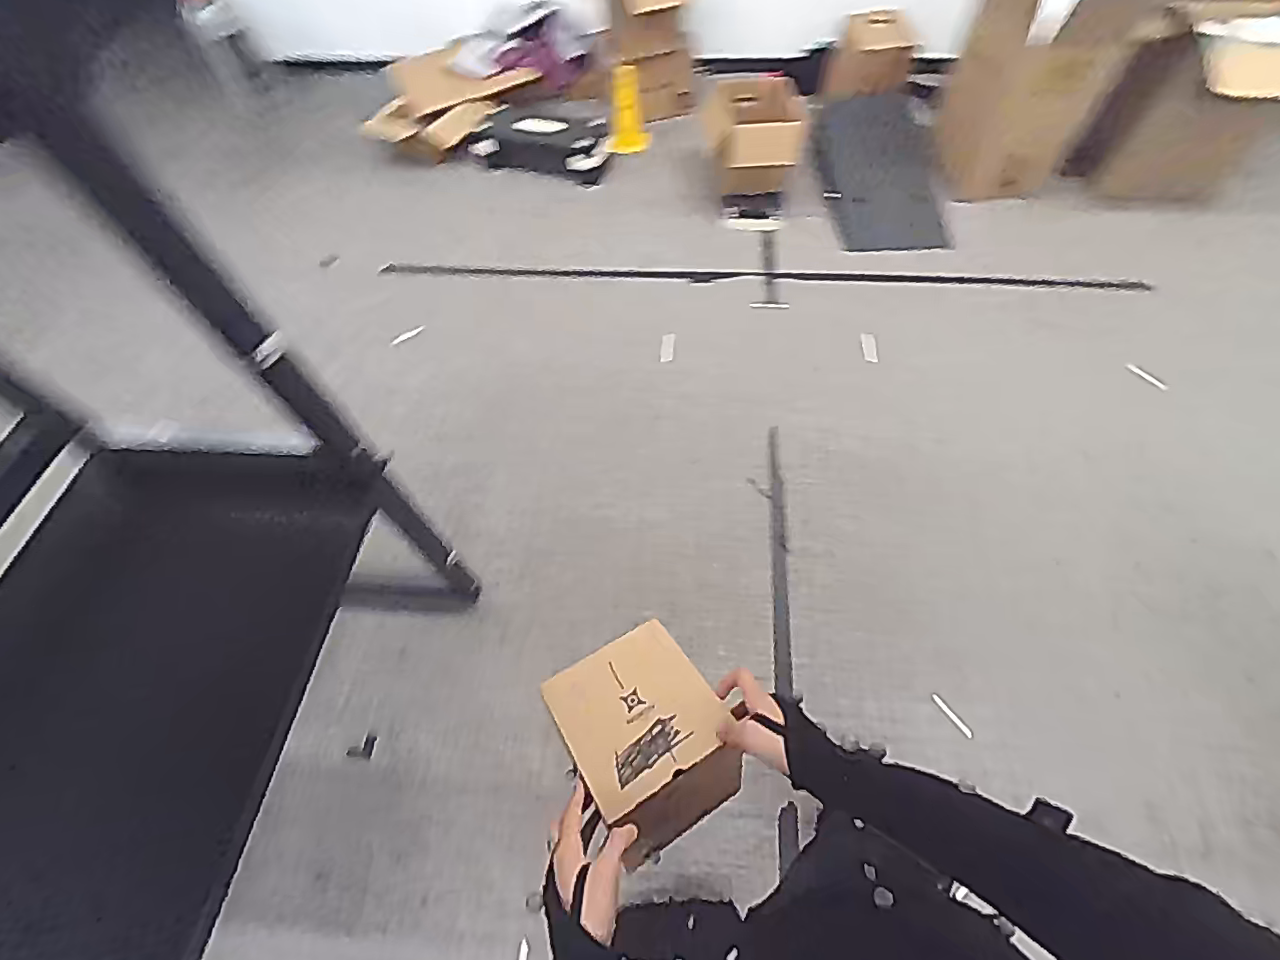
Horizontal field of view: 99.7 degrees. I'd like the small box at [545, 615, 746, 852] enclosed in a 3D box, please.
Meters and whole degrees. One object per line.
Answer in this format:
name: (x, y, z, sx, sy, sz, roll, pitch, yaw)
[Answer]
small box: (0.009, 0.305, 0.646, 0.168, 0.176, 0.179, -24, 44, -20)
